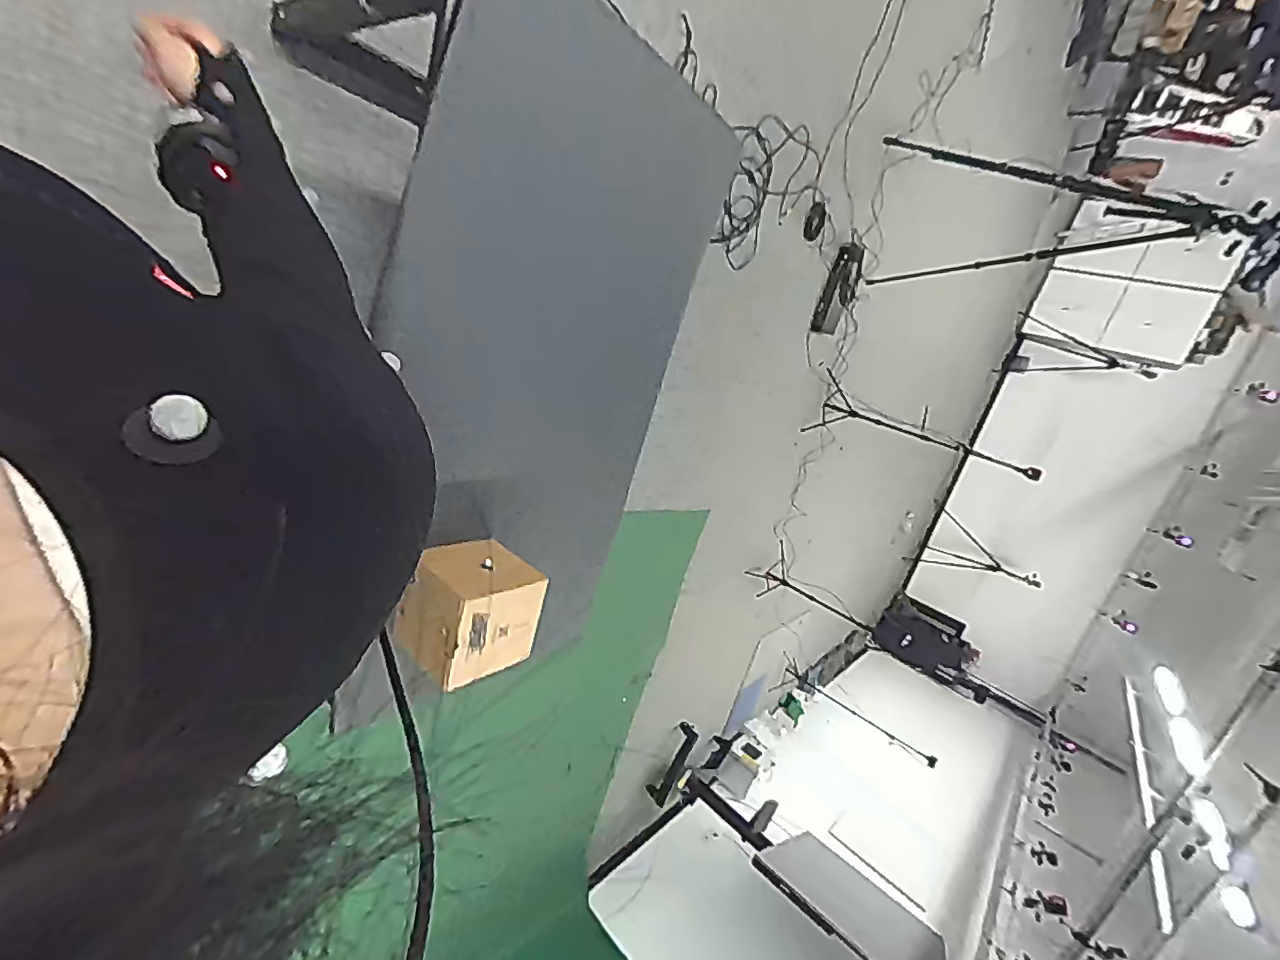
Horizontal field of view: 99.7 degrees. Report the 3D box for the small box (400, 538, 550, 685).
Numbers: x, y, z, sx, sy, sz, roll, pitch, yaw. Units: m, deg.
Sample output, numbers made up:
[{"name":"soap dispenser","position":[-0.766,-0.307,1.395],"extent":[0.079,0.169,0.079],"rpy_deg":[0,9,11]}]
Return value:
[{"name":"small box","position":[-0.289,0.215,0.939],"extent":[0.179,0.176,0.168],"rpy_deg":[-5,115,-53]}]
